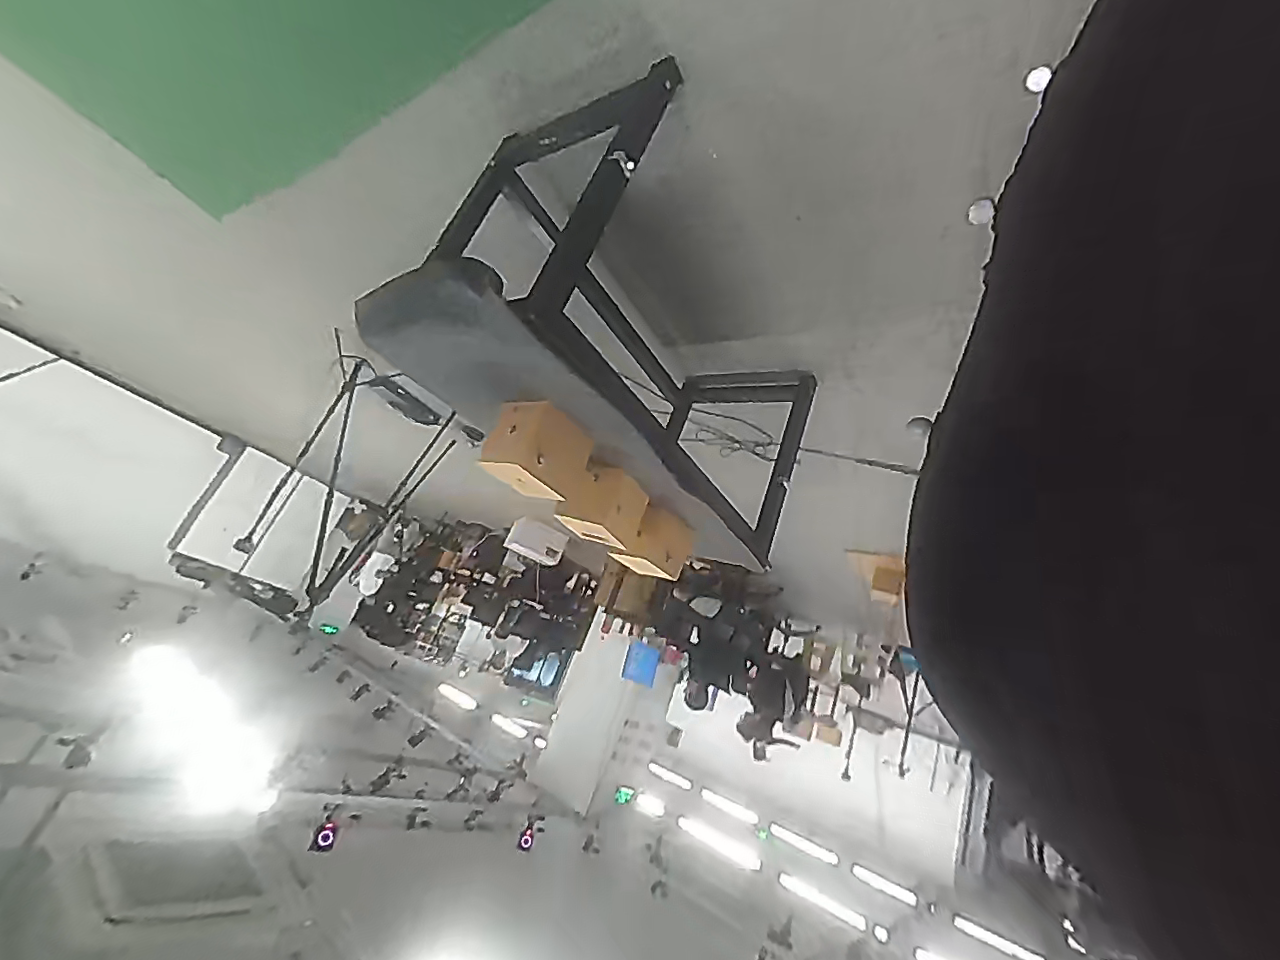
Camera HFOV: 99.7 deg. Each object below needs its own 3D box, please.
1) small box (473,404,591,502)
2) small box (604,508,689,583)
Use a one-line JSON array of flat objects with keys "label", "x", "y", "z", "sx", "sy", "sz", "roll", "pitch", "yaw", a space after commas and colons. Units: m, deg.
[{"label": "small box", "x": -0.248, "y": -0.066, "z": 1.268, "sx": 0.168, "sy": 0.176, "sz": 0.179, "roll": 5, "pitch": 154, "yaw": 40}, {"label": "small box", "x": 0.025, "y": 0.198, "z": 1.669, "sx": 0.168, "sy": 0.176, "sz": 0.179, "roll": 2, "pitch": 152, "yaw": 42}]
